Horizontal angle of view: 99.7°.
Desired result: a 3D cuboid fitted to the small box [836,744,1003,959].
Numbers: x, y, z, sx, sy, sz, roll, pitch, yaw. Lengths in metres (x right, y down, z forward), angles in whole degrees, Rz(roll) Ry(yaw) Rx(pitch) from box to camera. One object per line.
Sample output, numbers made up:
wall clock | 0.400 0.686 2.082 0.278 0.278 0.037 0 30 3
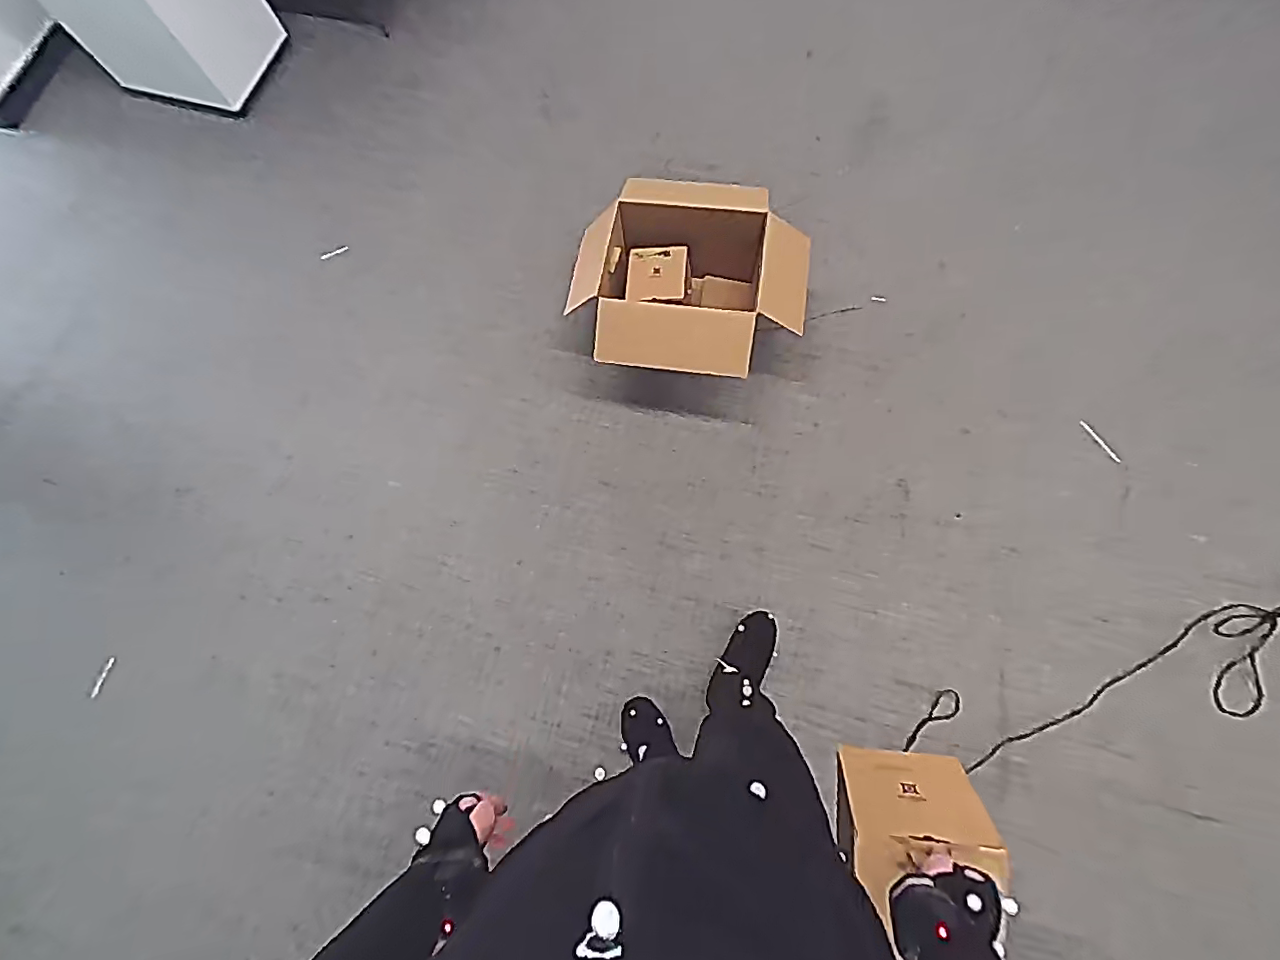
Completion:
small box | 0.354 0.483 0.711 0.168 0.179 0.176 0 94 14
